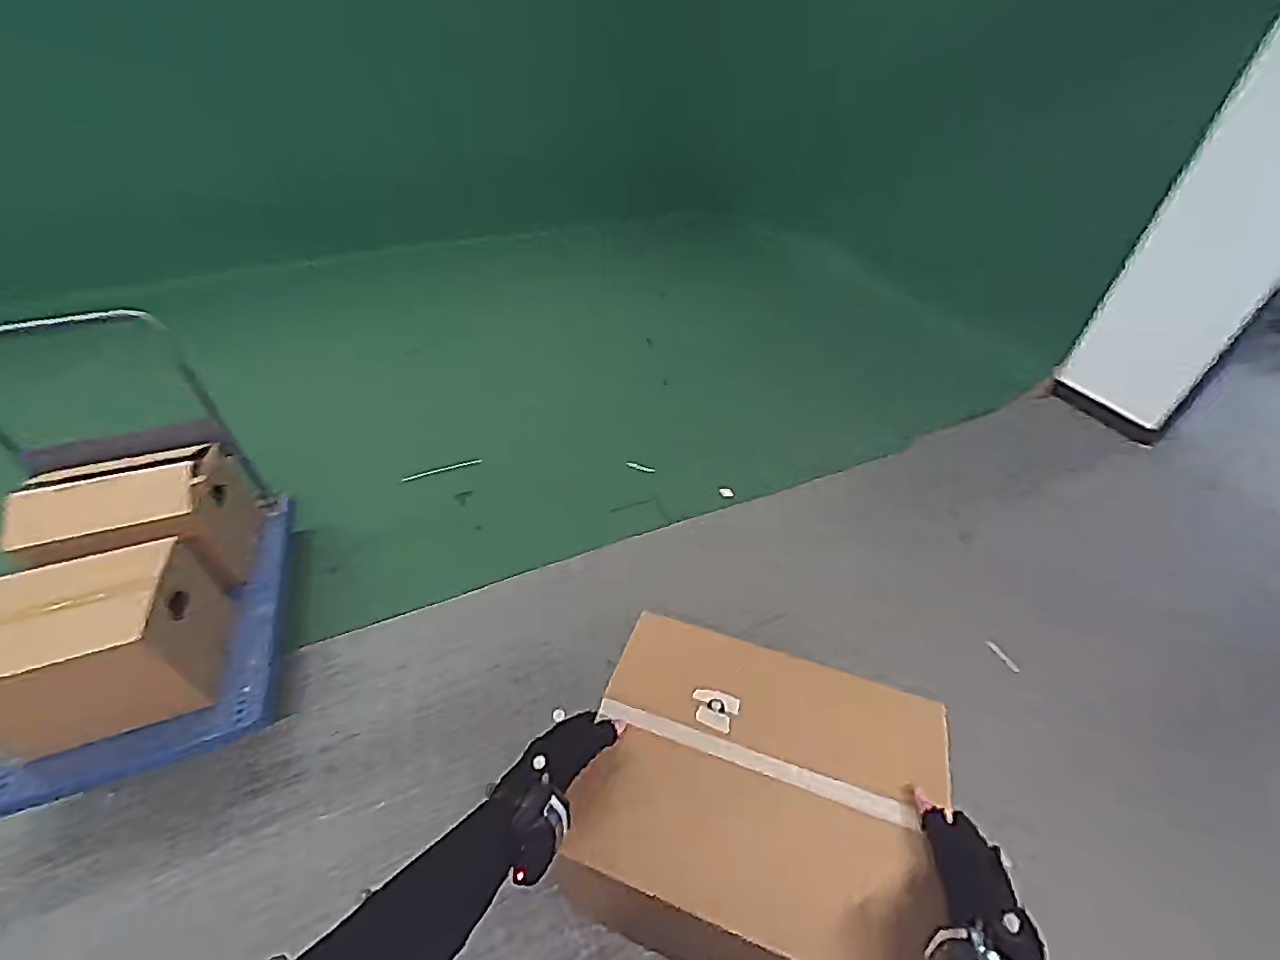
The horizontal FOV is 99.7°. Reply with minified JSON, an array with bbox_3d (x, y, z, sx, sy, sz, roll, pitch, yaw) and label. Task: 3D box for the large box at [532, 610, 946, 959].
[{"bbox_3d":[0.130,0.428,0.710,0.408,0.320,0.320,12,43,16],"label":"large box"}]
